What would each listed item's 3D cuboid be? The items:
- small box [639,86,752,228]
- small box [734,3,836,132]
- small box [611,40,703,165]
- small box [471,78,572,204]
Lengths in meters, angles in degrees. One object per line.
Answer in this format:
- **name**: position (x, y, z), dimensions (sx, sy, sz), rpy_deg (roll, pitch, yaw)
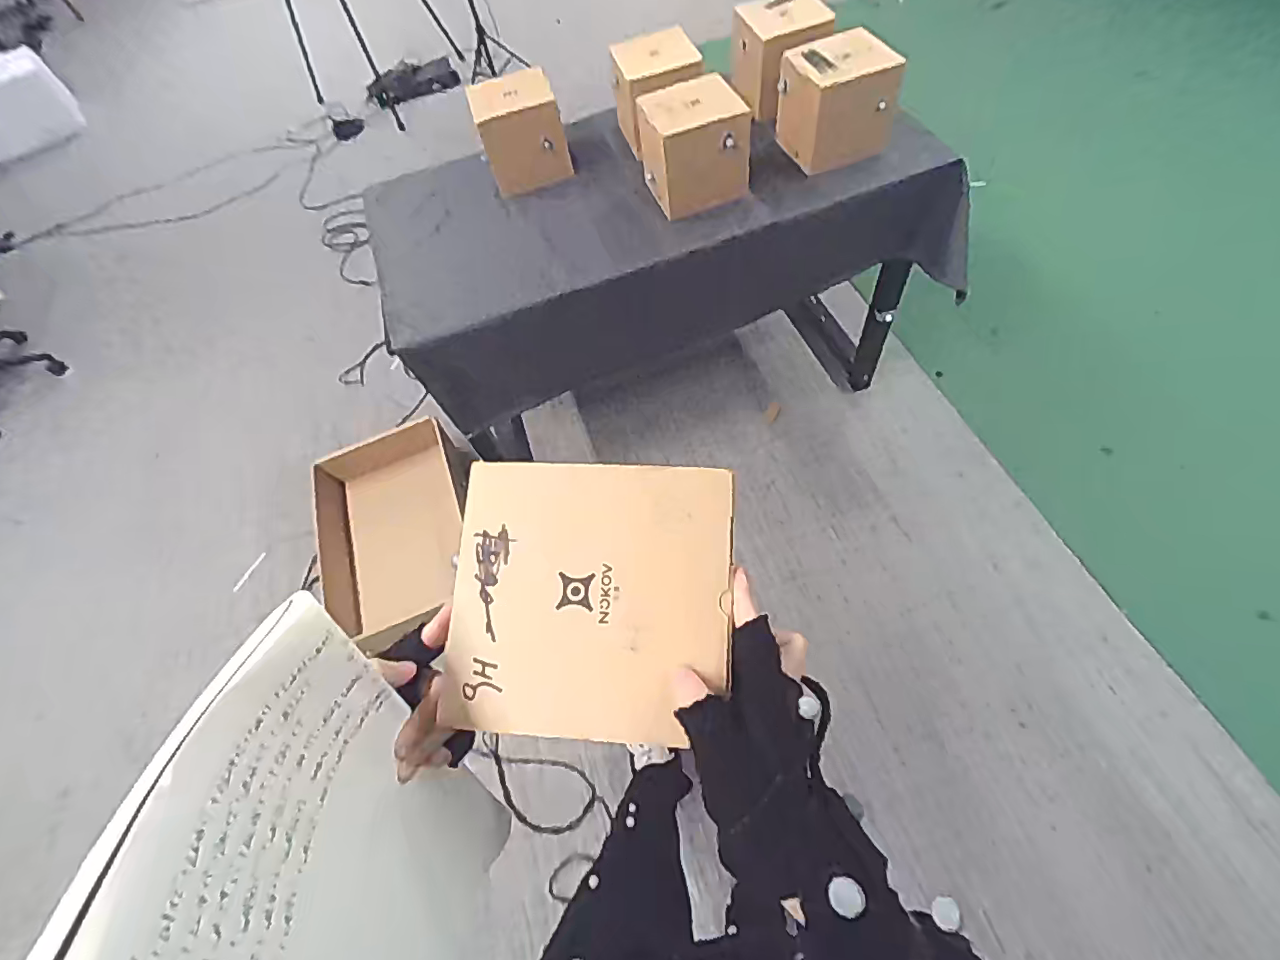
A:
- **small box**: position (0.112, -0.650, 1.097), dimensions (0.179, 0.176, 0.168), rpy_deg (-19, 58, -2)
- **small box**: position (0.320, -0.938, 1.236), dimensions (0.168, 0.176, 0.179), rpy_deg (-17, 59, -1)
- **small box**: position (0.045, -0.847, 1.227), dimensions (0.168, 0.176, 0.179), rpy_deg (-17, 58, -1)
- **small box**: position (-0.260, -0.758, 1.217), dimensions (0.179, 0.176, 0.168), rpy_deg (-17, 59, -3)
